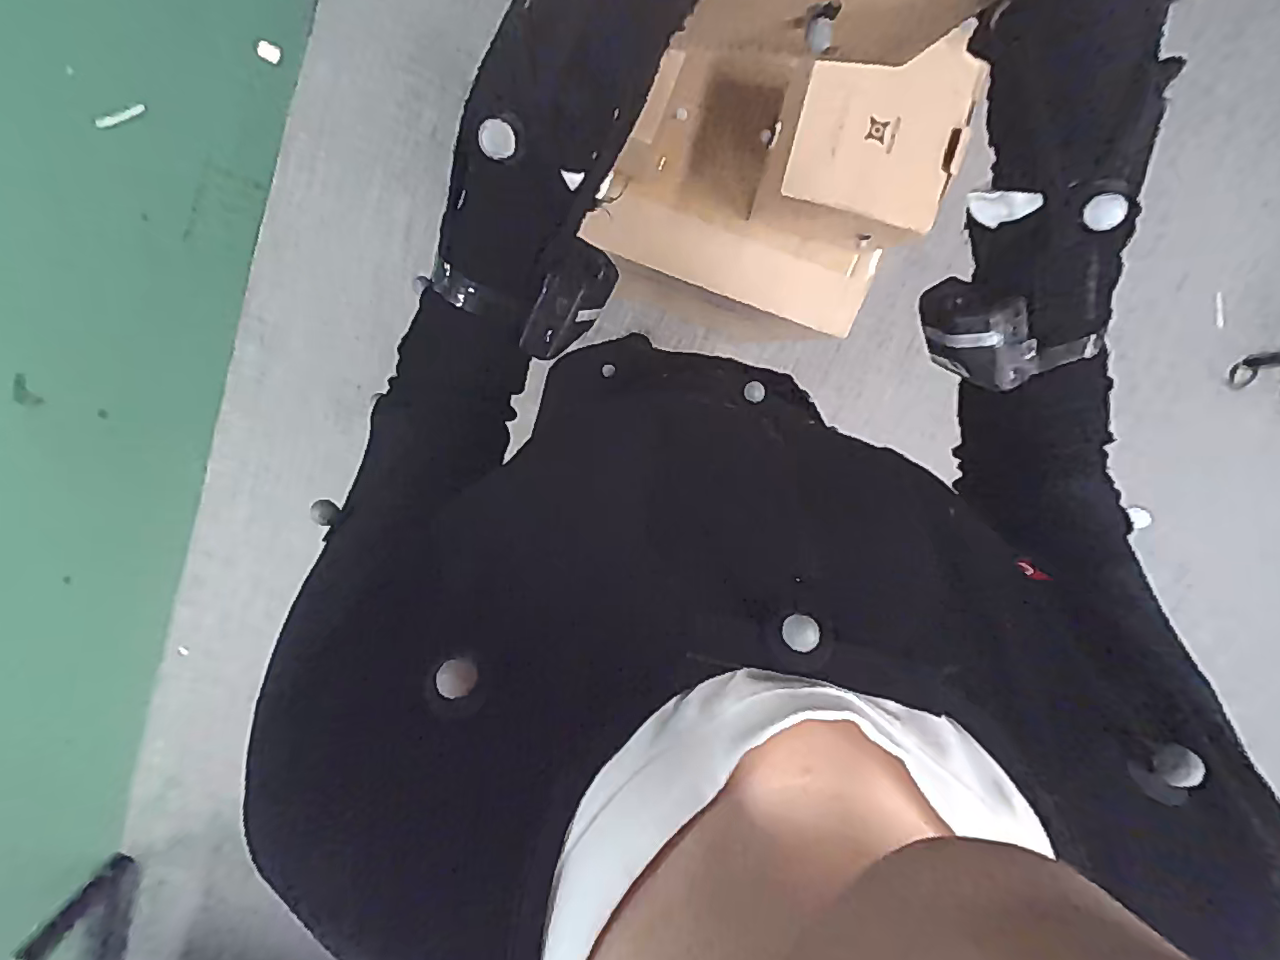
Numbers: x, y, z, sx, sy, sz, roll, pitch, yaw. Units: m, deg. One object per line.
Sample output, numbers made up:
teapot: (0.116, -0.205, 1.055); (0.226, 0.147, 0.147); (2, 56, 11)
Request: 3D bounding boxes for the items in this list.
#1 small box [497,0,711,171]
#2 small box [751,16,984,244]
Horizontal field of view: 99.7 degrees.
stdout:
small box: (-0.035, -0.483, 0.613); (0.179, 0.176, 0.168); (22, 106, -7)
small box: (0.249, -0.391, 0.642); (0.179, 0.176, 0.168); (12, 105, -3)
